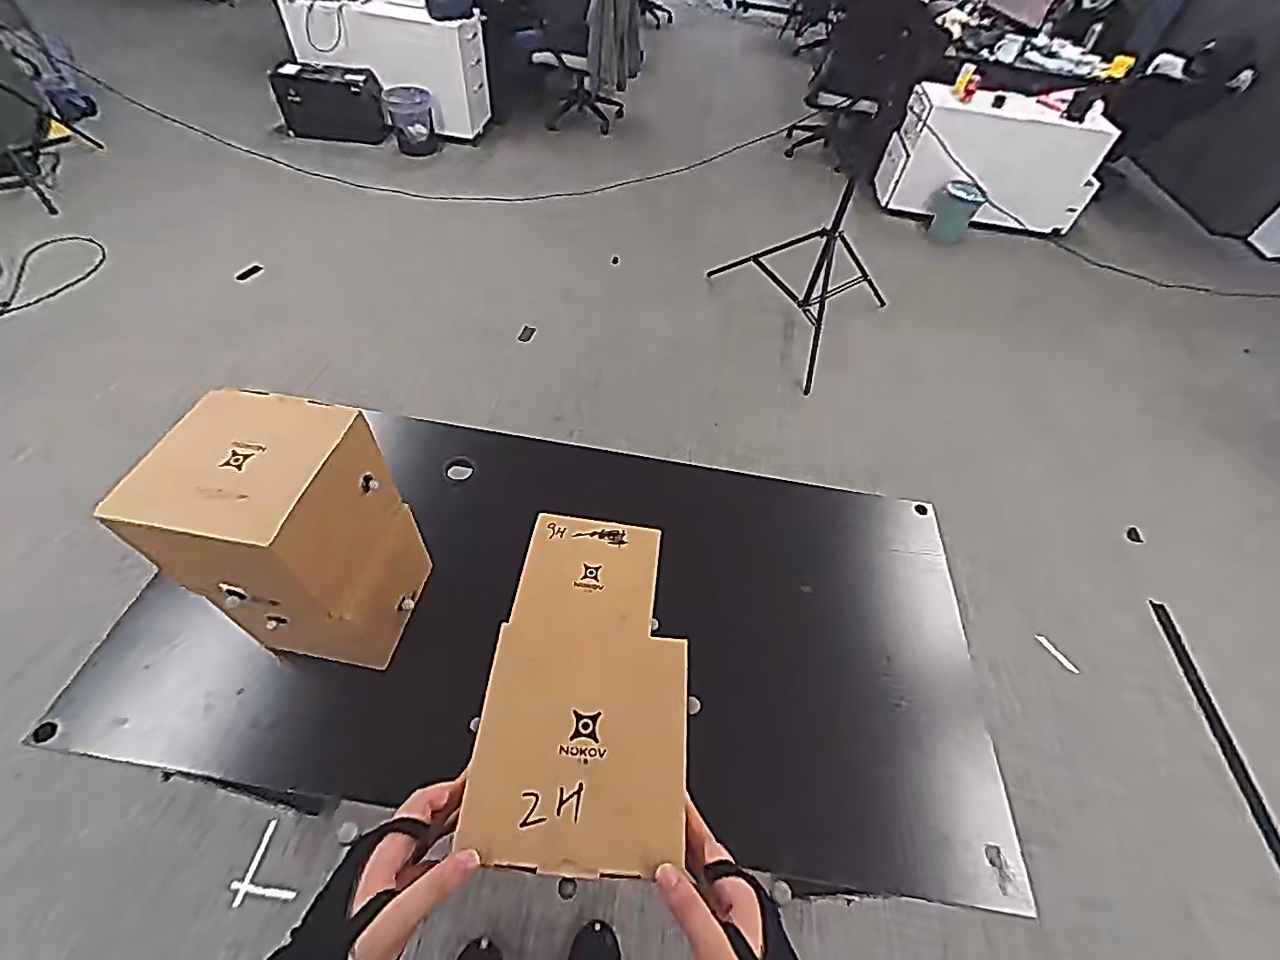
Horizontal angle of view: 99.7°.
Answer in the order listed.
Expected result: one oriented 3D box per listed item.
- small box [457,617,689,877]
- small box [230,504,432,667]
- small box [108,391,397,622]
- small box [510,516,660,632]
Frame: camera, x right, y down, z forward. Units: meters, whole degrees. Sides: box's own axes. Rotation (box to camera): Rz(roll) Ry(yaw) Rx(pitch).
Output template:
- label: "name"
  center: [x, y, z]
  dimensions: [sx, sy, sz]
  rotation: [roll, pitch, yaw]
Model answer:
- label: "small box"
  center: [-0.050, 0.248, 0.495]
  dimensions: [0.168, 0.176, 0.179]
  rotation: [6, 53, -1]
- label: "small box"
  center: [-0.404, 0.132, 0.722]
  dimensions: [0.179, 0.176, 0.168]
  rotation: [11, 51, 1]
- label: "small box"
  center: [-0.392, 0.032, 0.595]
  dimensions: [0.168, 0.176, 0.179]
  rotation: [9, 52, 2]
- label: "small box"
  center: [-0.069, 0.175, 0.730]
  dimensions: [0.168, 0.176, 0.179]
  rotation: [8, 51, 0]
